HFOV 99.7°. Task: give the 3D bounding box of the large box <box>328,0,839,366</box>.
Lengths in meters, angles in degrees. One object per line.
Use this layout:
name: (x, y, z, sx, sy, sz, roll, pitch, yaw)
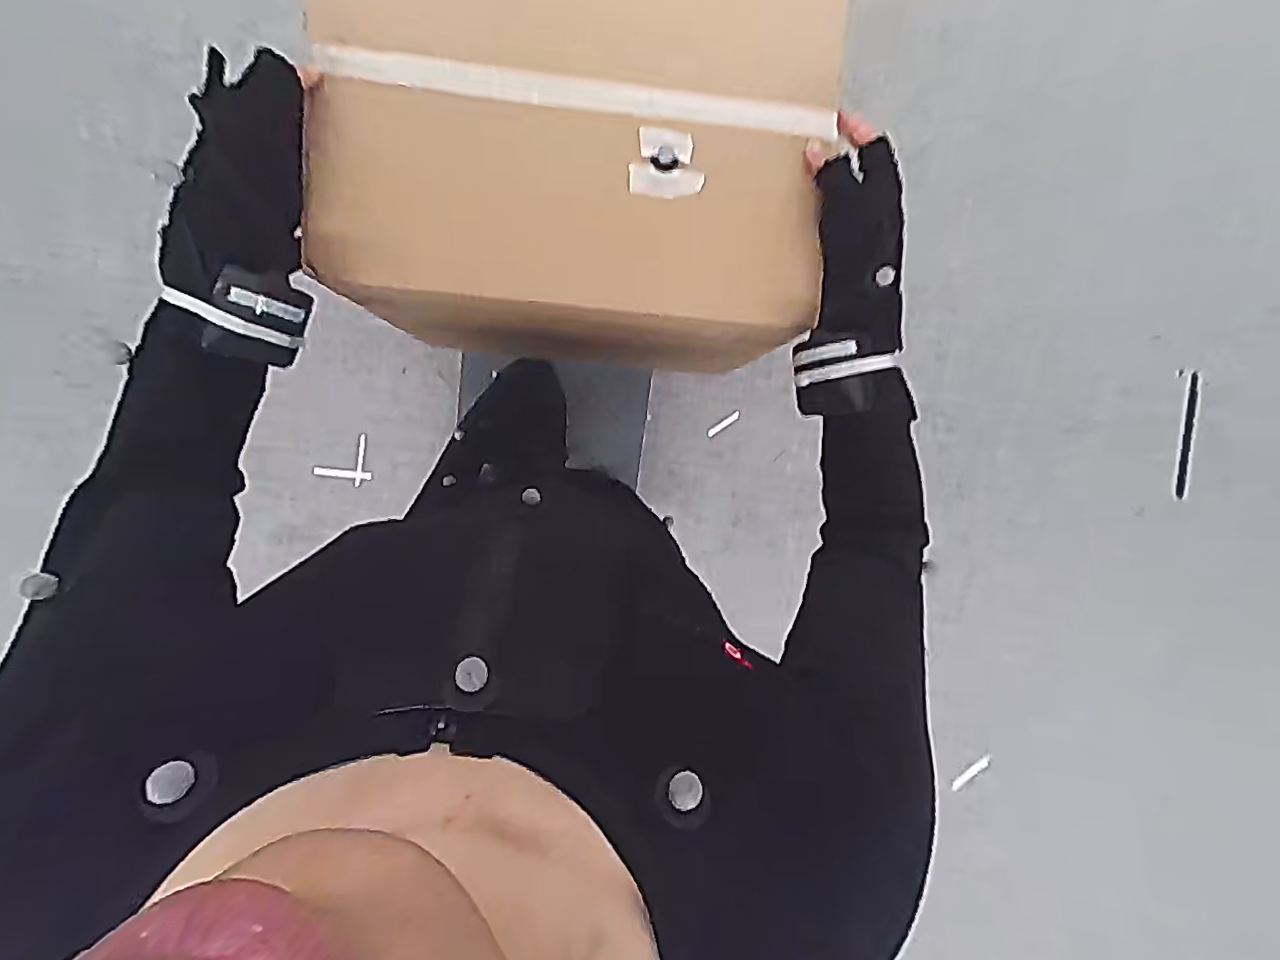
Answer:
large box: (-0.054, -0.313, 0.581, 0.408, 0.320, 0.320, 4, 93, -6)
